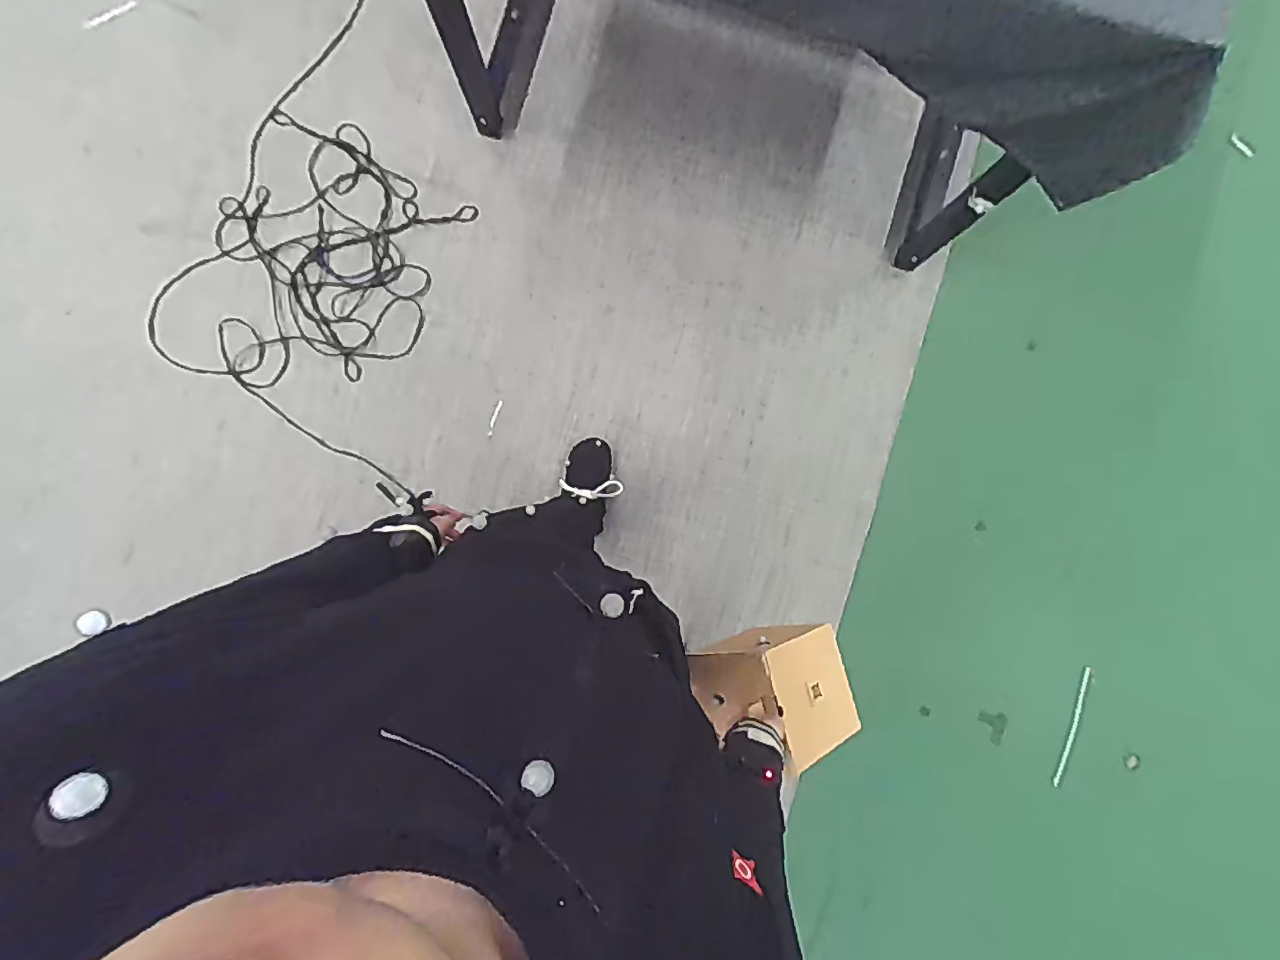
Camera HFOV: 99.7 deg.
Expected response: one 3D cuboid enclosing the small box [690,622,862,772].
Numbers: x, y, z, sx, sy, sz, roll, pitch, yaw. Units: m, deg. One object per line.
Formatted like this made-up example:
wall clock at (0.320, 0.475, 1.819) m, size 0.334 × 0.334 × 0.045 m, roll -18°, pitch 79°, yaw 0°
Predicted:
small box at (0.208, 0.324, 0.842) m, size 0.179 × 0.176 × 0.168 m, roll -6°, pitch 78°, yaw -39°
